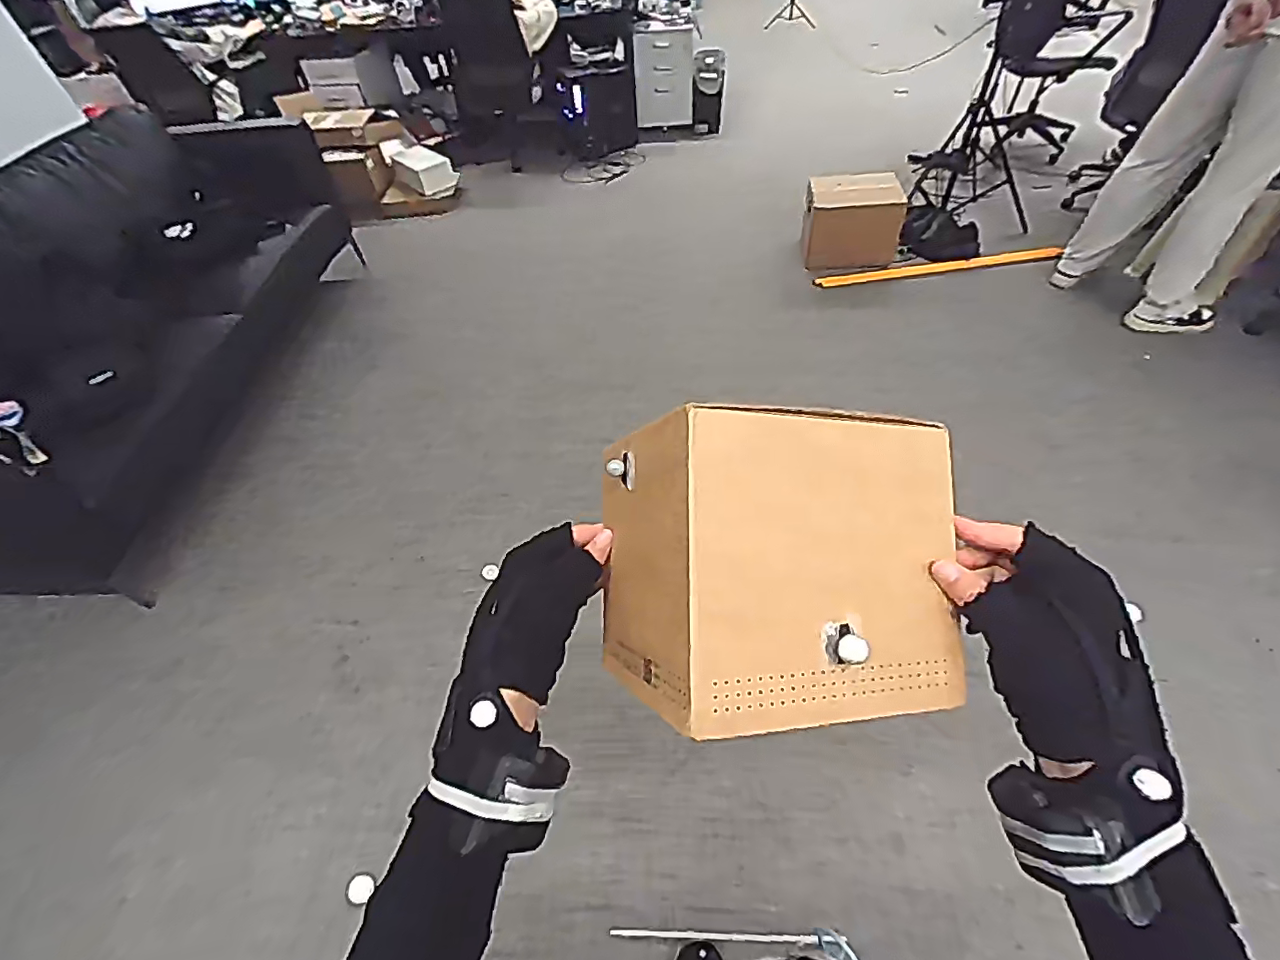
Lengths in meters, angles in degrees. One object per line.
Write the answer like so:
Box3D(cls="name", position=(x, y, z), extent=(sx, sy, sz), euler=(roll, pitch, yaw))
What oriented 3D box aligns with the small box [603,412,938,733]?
Box3D(cls="small box", position=(0.077, 0.058, 0.376), extent=(0.179, 0.168, 0.176), euler=(2, 83, -19))
